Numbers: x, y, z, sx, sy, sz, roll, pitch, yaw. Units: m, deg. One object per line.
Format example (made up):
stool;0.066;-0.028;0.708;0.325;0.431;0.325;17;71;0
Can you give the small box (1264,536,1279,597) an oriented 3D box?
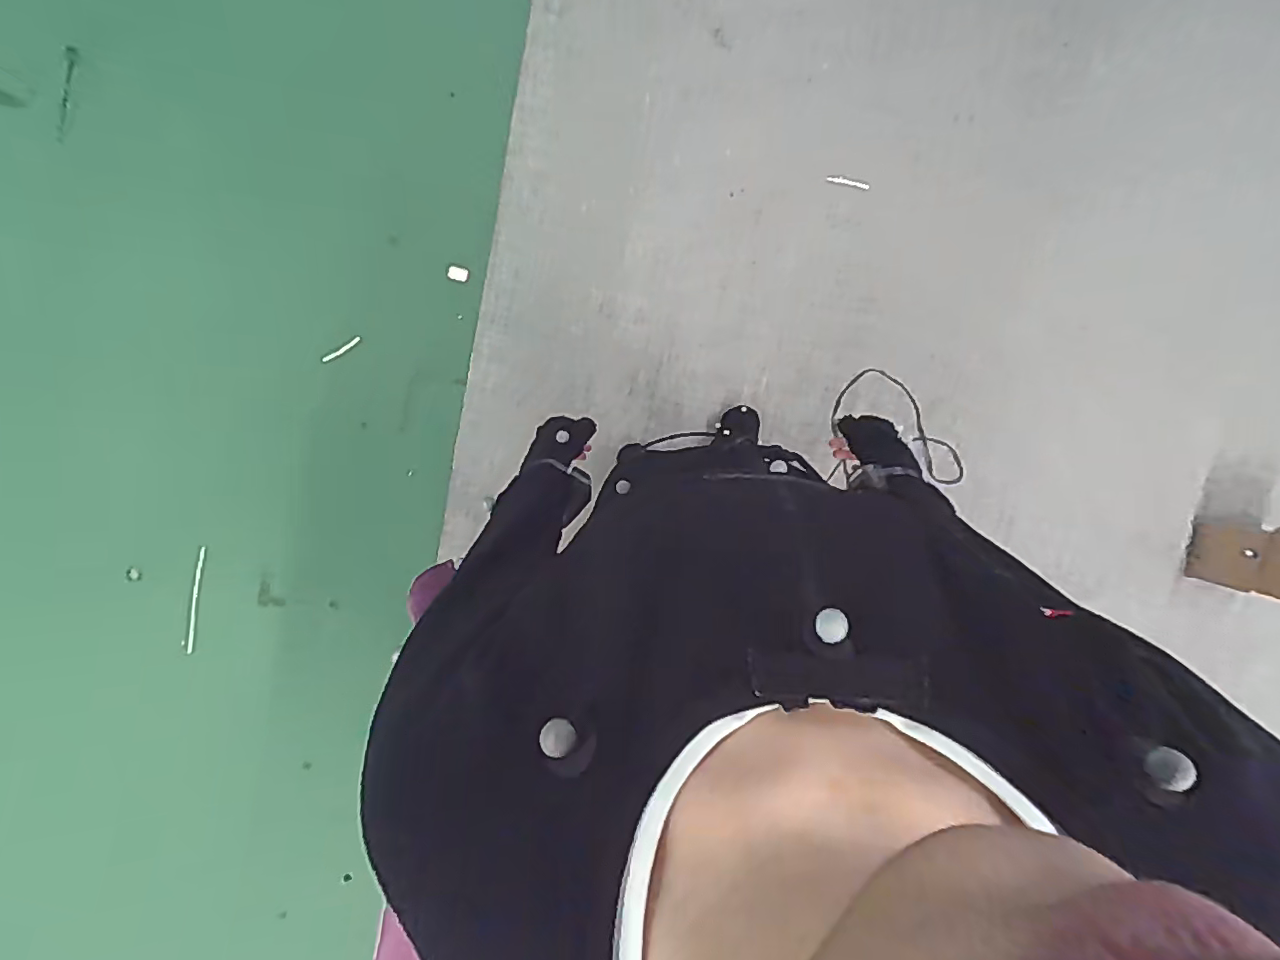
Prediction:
small box;1.612;0.213;1.237;0.168;0.176;0.179;11;96;0

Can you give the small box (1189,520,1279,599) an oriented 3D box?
small box;1.608;0.208;1.400;0.179;0.176;0.168;11;96;-1
